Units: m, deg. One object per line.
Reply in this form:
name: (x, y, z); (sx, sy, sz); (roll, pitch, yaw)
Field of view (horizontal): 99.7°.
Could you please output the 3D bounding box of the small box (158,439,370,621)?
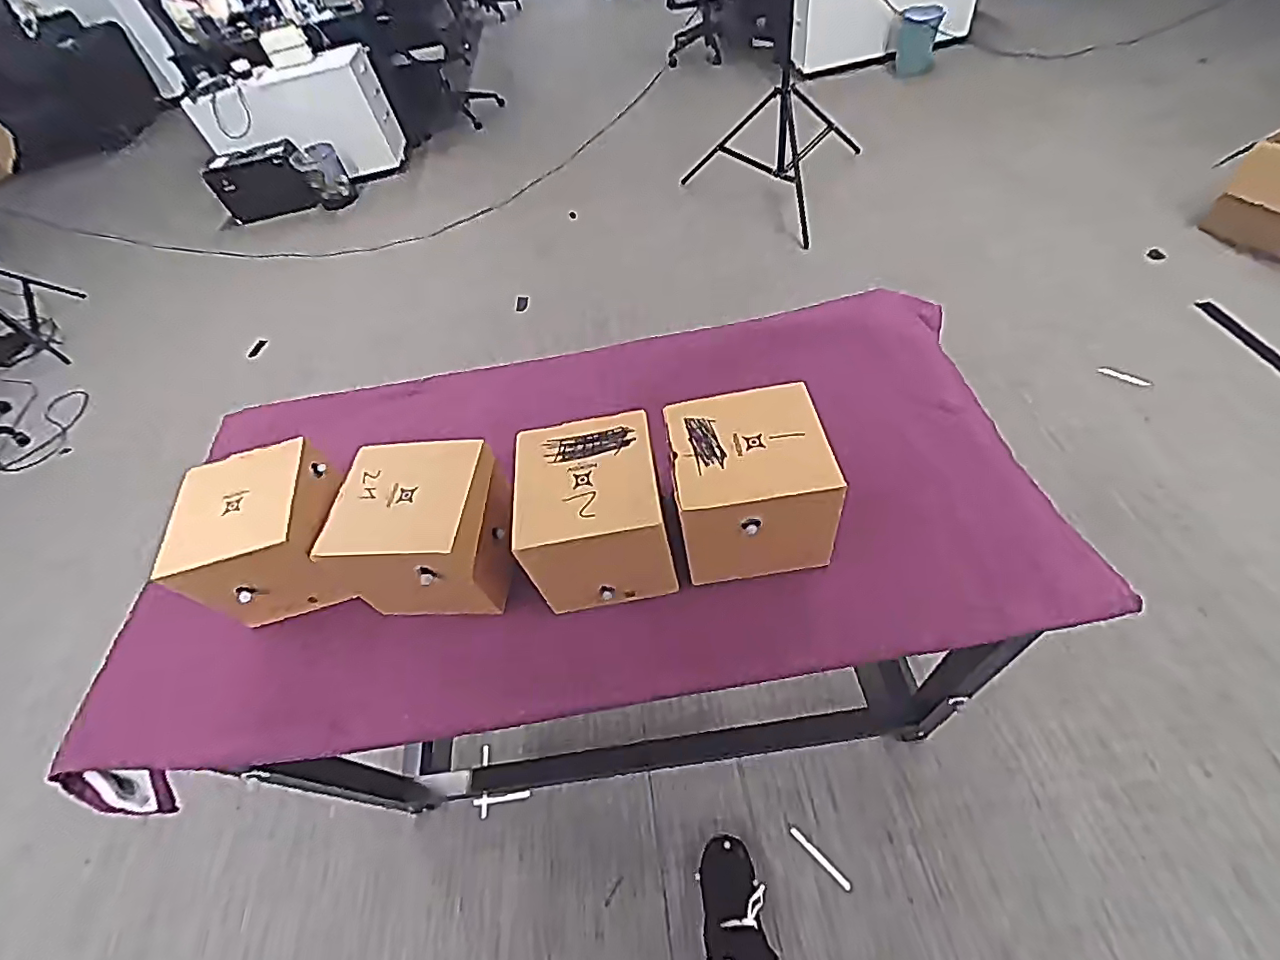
small box: (-0.501, 0.078, 0.754); (0.168, 0.176, 0.179); (-17, 53, -2)
